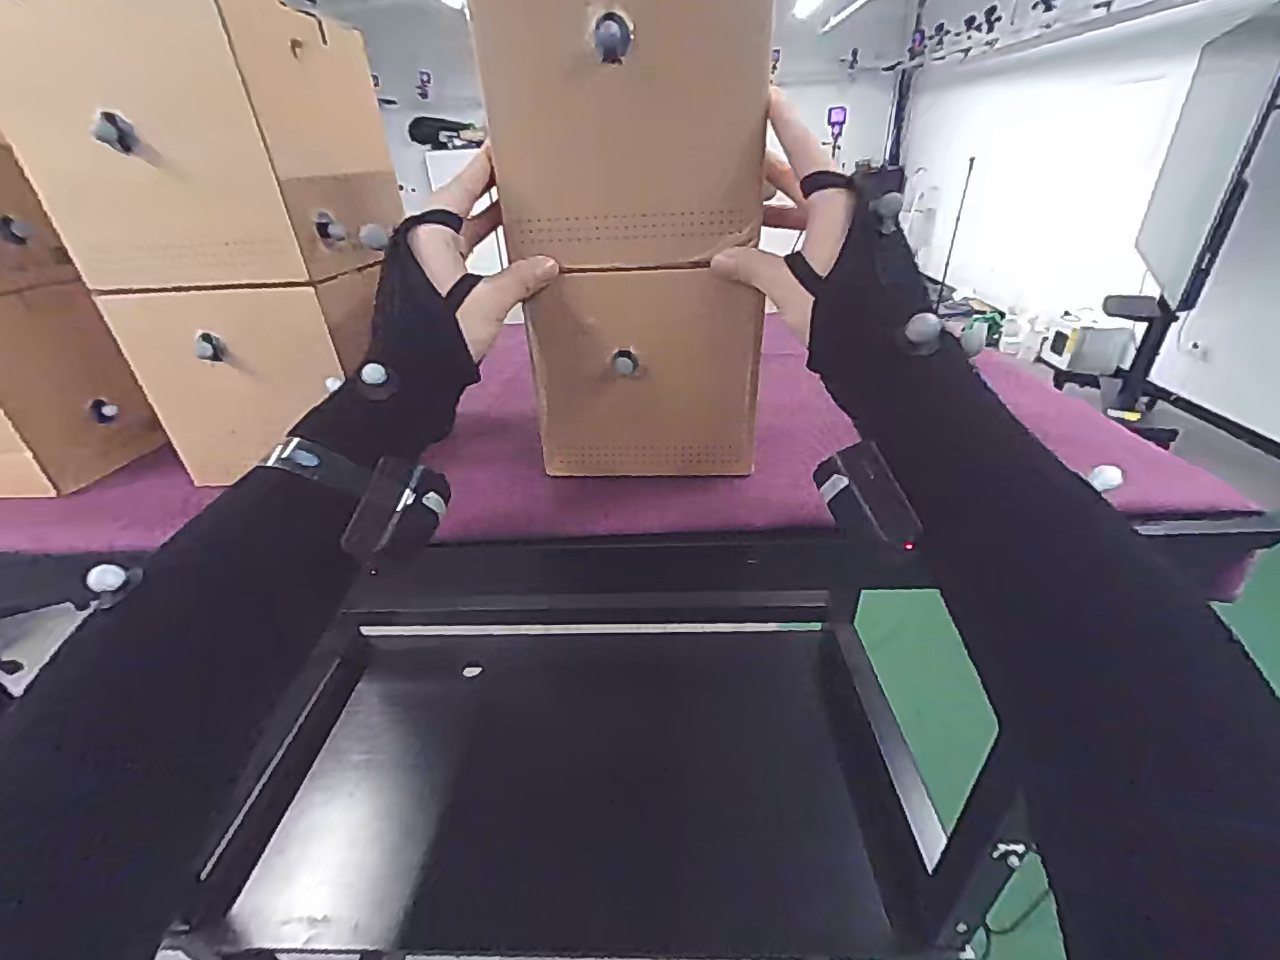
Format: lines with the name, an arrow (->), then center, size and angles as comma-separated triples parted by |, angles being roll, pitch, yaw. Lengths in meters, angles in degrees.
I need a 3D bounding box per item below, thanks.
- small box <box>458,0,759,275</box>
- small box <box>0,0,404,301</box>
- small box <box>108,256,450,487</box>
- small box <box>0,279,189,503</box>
small box -> -0.008, -0.254, 0.399 | 0.179, 0.176, 0.168 | 0, 32, 6
small box -> -0.316, -0.244, 0.421 | 0.179, 0.176, 0.168 | -2, 30, 6
small box -> -0.305, -0.103, 0.505 | 0.179, 0.176, 0.168 | -1, 31, 6
small box -> -0.587, -0.089, 0.520 | 0.179, 0.176, 0.168 | 0, 31, 4
